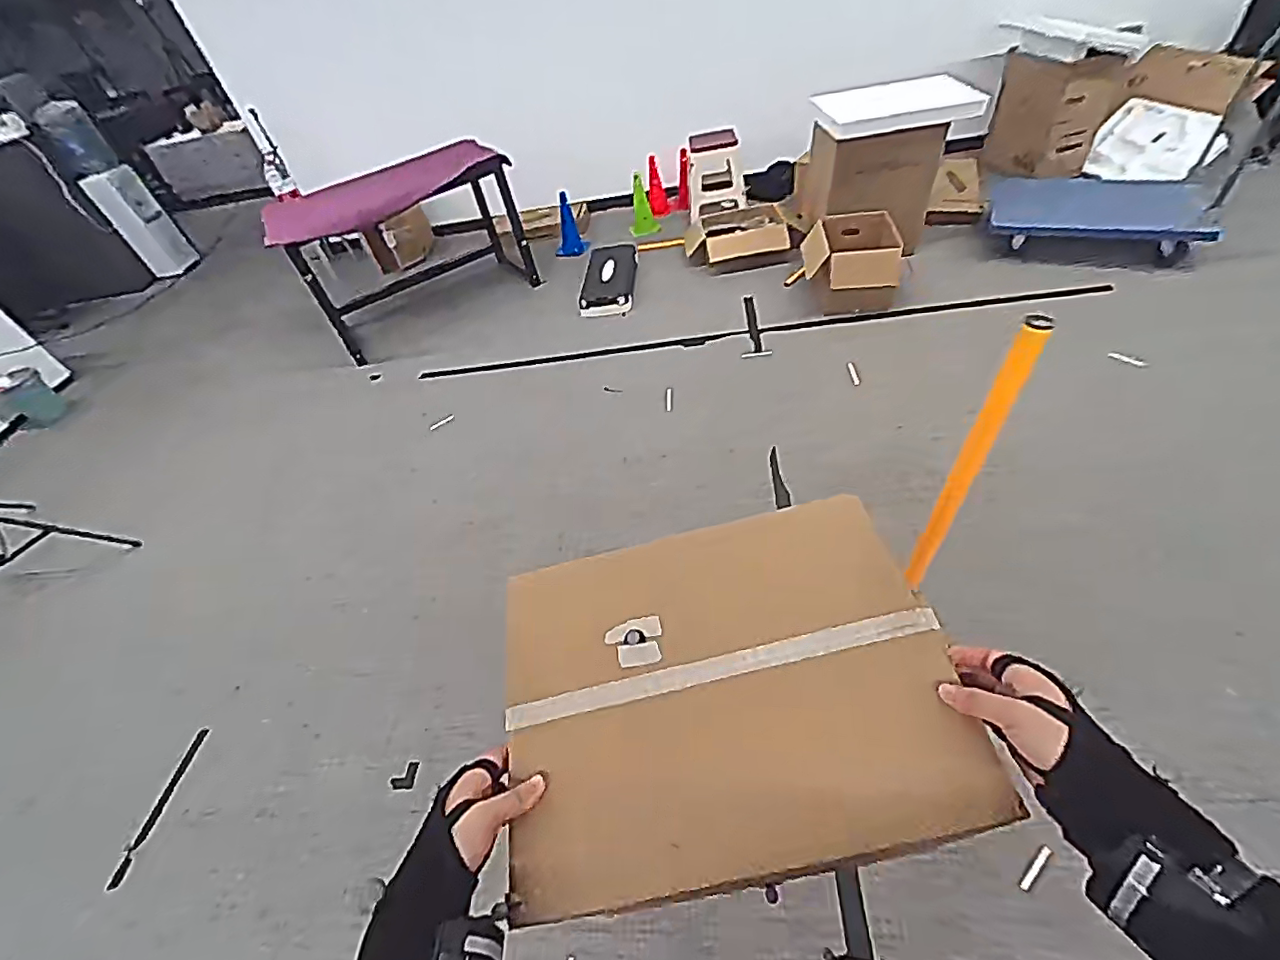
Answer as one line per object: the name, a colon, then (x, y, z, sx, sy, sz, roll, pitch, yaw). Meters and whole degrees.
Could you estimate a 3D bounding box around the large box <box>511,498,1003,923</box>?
large box: (0.100, 0.275, 0.634, 0.408, 0.320, 0.320, -16, 50, 4)
